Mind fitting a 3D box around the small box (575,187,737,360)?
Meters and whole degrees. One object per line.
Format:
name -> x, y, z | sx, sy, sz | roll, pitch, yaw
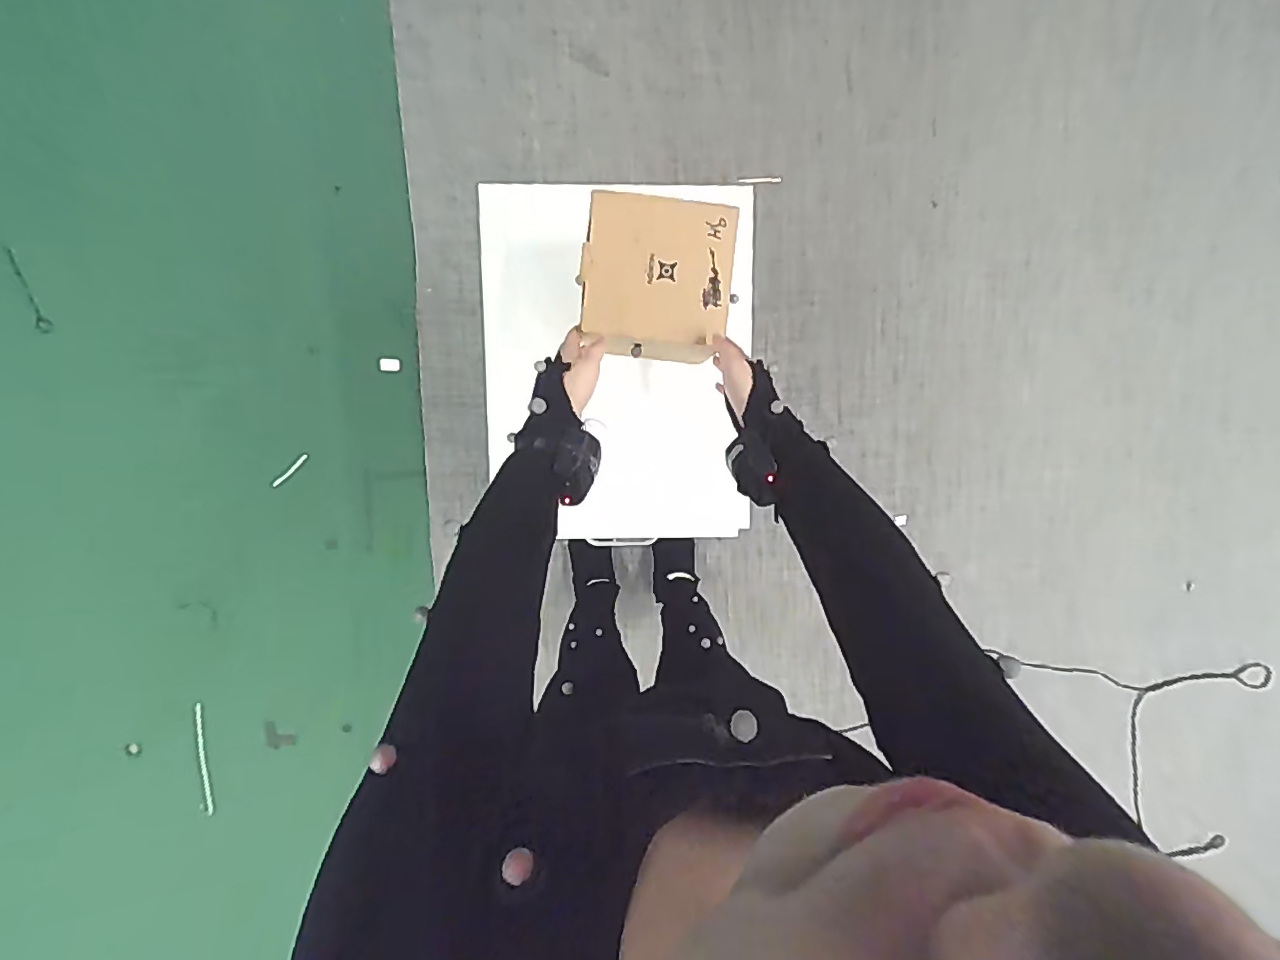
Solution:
small box -> 0.015, -0.256, 0.710 | 0.179, 0.176, 0.168 | 6, 96, -3
